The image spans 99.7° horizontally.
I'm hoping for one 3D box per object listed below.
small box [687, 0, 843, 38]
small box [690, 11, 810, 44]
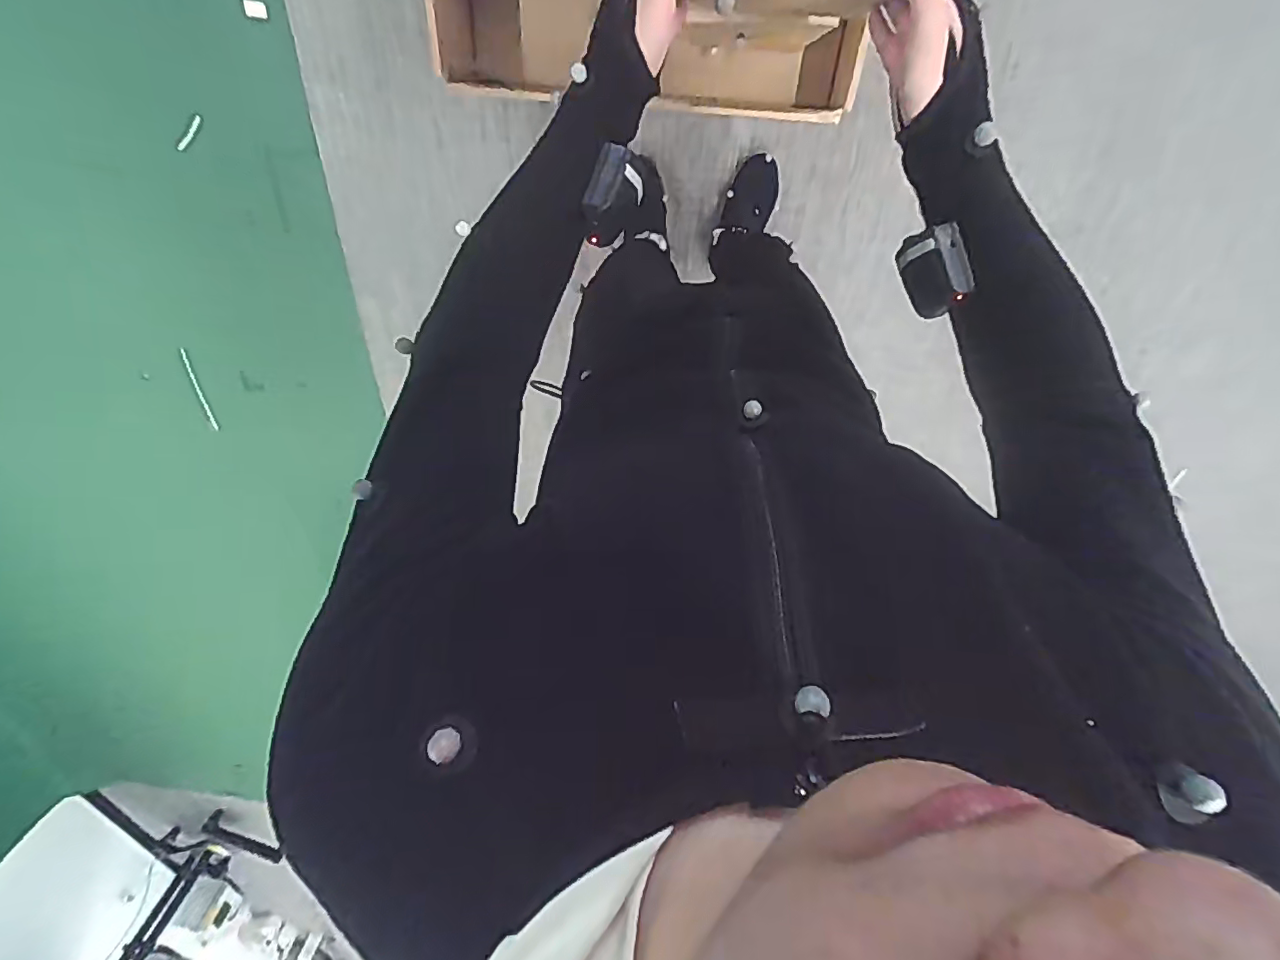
[{"bbox_3d":[0.143,-0.611,0.593,0.168,0.176,0.179,6,126,4],"label":"small box"},{"bbox_3d":[0.161,-0.705,0.725,0.168,0.176,0.179,6,125,3],"label":"small box"}]
